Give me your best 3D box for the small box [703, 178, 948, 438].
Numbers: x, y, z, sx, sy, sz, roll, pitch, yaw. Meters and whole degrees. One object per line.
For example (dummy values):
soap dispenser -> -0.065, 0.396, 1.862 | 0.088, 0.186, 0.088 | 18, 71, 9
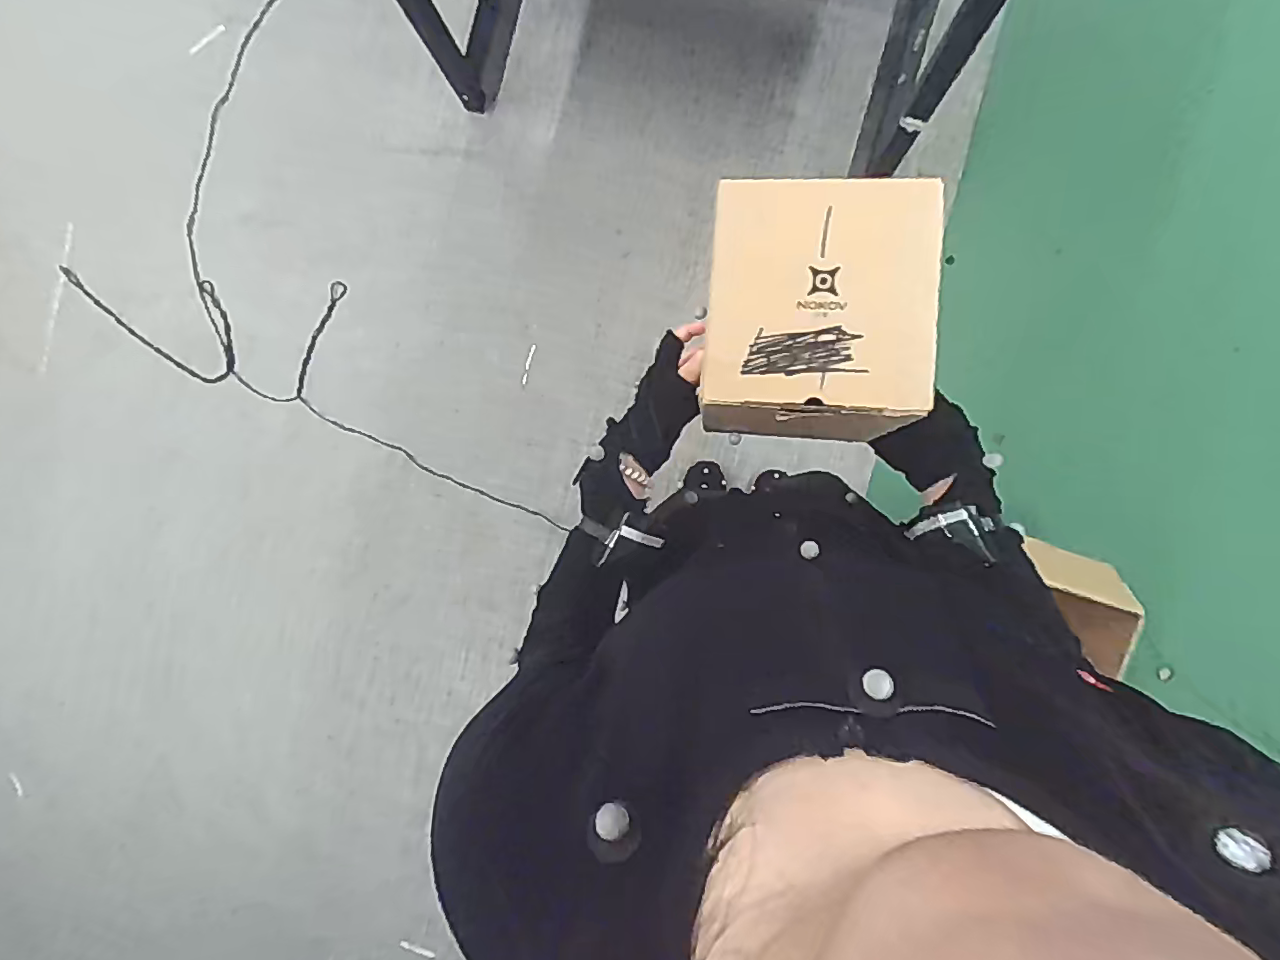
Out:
small box -> 0.147, -0.135, 0.482 | 0.168, 0.176, 0.179 | 5, 88, 7
